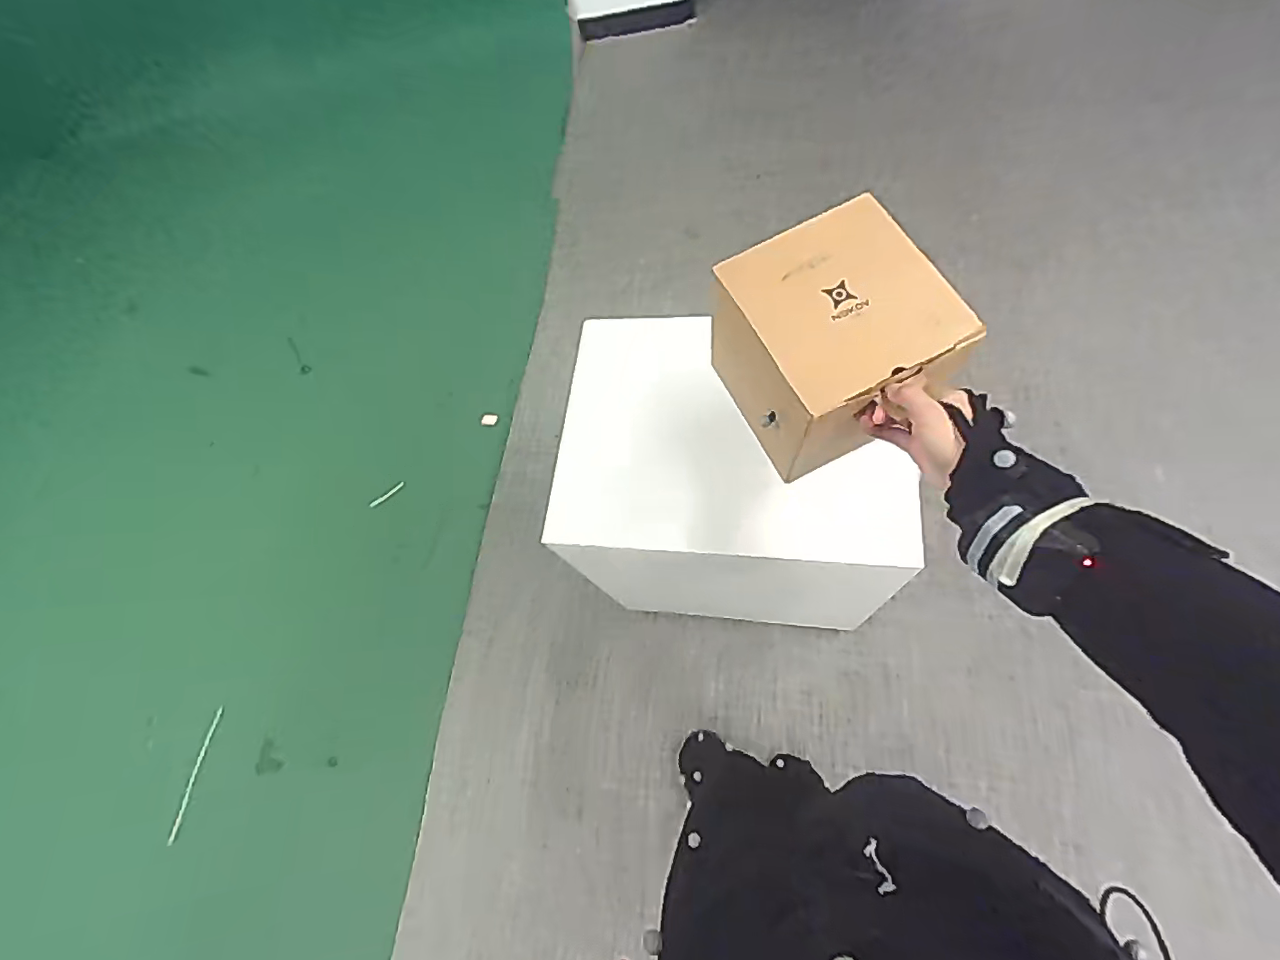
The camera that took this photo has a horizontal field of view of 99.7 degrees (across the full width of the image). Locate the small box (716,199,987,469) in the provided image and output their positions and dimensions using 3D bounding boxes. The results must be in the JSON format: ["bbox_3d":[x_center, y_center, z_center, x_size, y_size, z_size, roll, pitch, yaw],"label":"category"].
[{"bbox_3d":[0.188,-0.128,0.542,0.168,0.176,0.179,-25,68,-3],"label":"small box"}]
